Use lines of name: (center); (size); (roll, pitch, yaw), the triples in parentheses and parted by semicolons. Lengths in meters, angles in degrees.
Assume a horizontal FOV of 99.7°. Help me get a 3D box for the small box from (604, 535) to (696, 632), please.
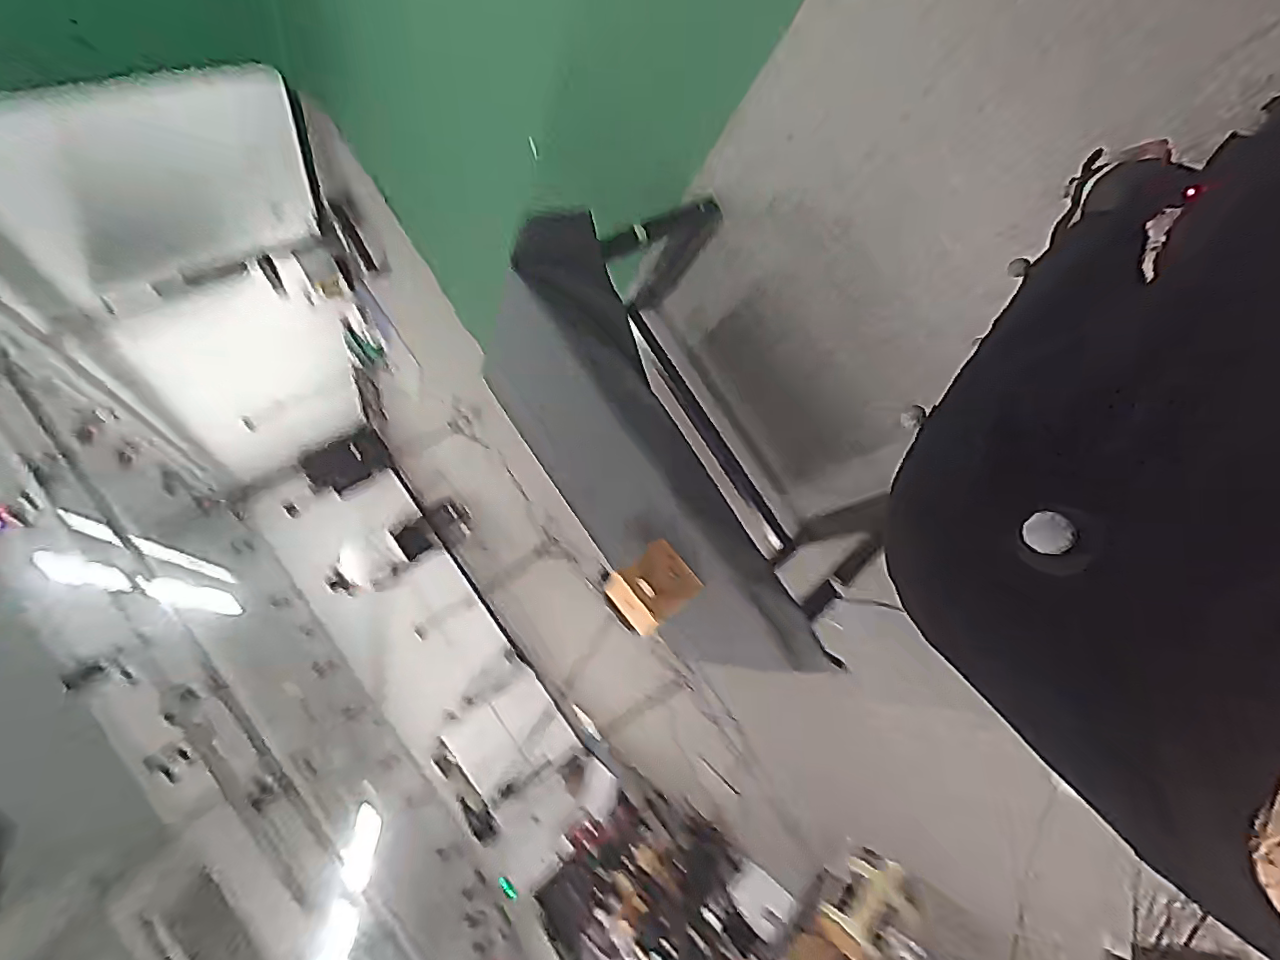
small box: (0.027, 0.279, 1.463); (0.168, 0.176, 0.179); (50, 152, 14)
